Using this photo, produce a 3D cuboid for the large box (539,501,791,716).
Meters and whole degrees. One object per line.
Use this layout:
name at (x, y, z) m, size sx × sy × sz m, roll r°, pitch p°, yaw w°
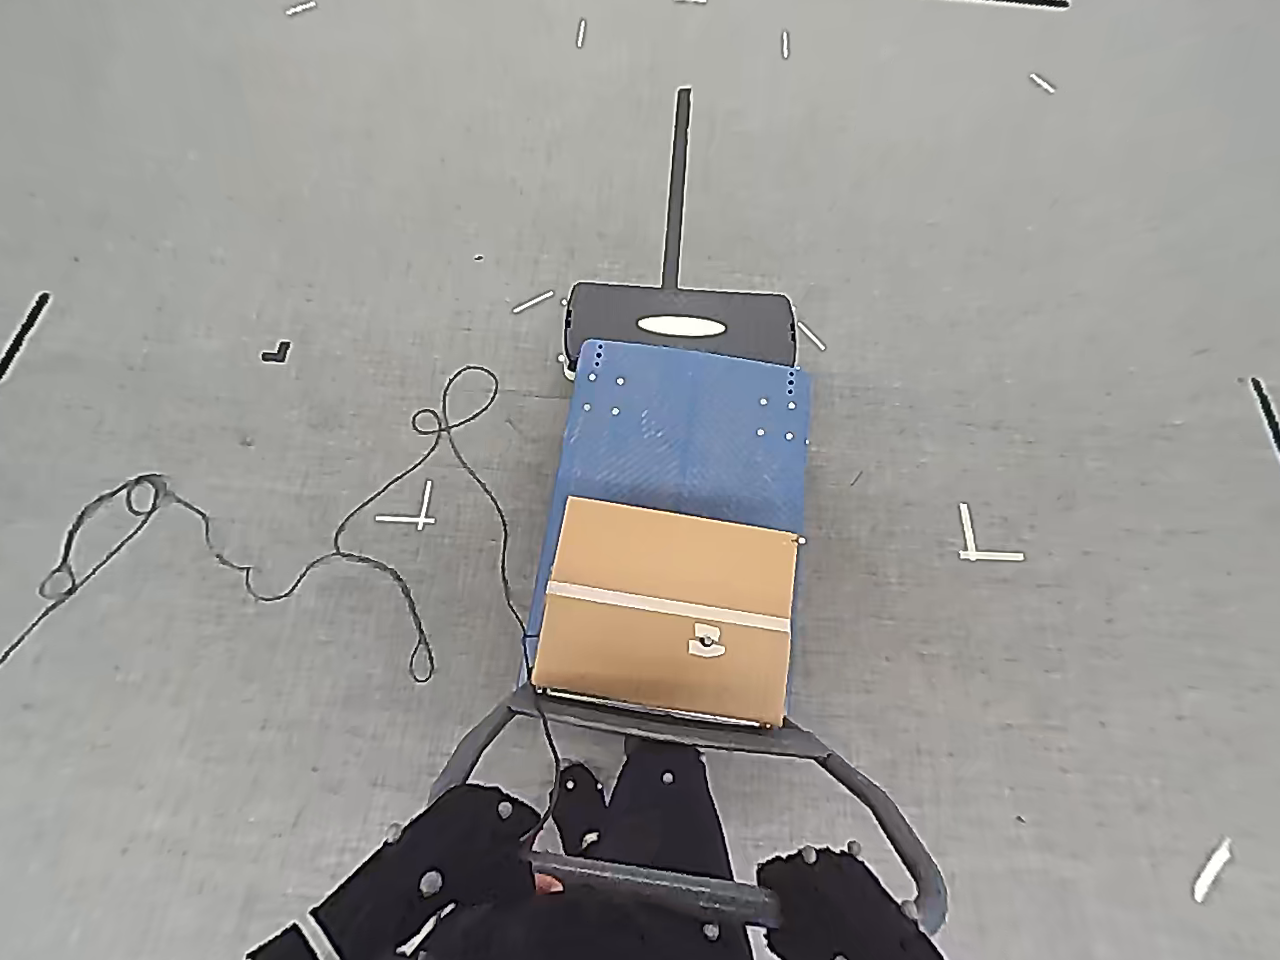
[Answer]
large box at (0.041, 0.250, 1.060) m, size 0.408 × 0.320 × 0.320 m, roll 10°, pitch 75°, yaw 0°
